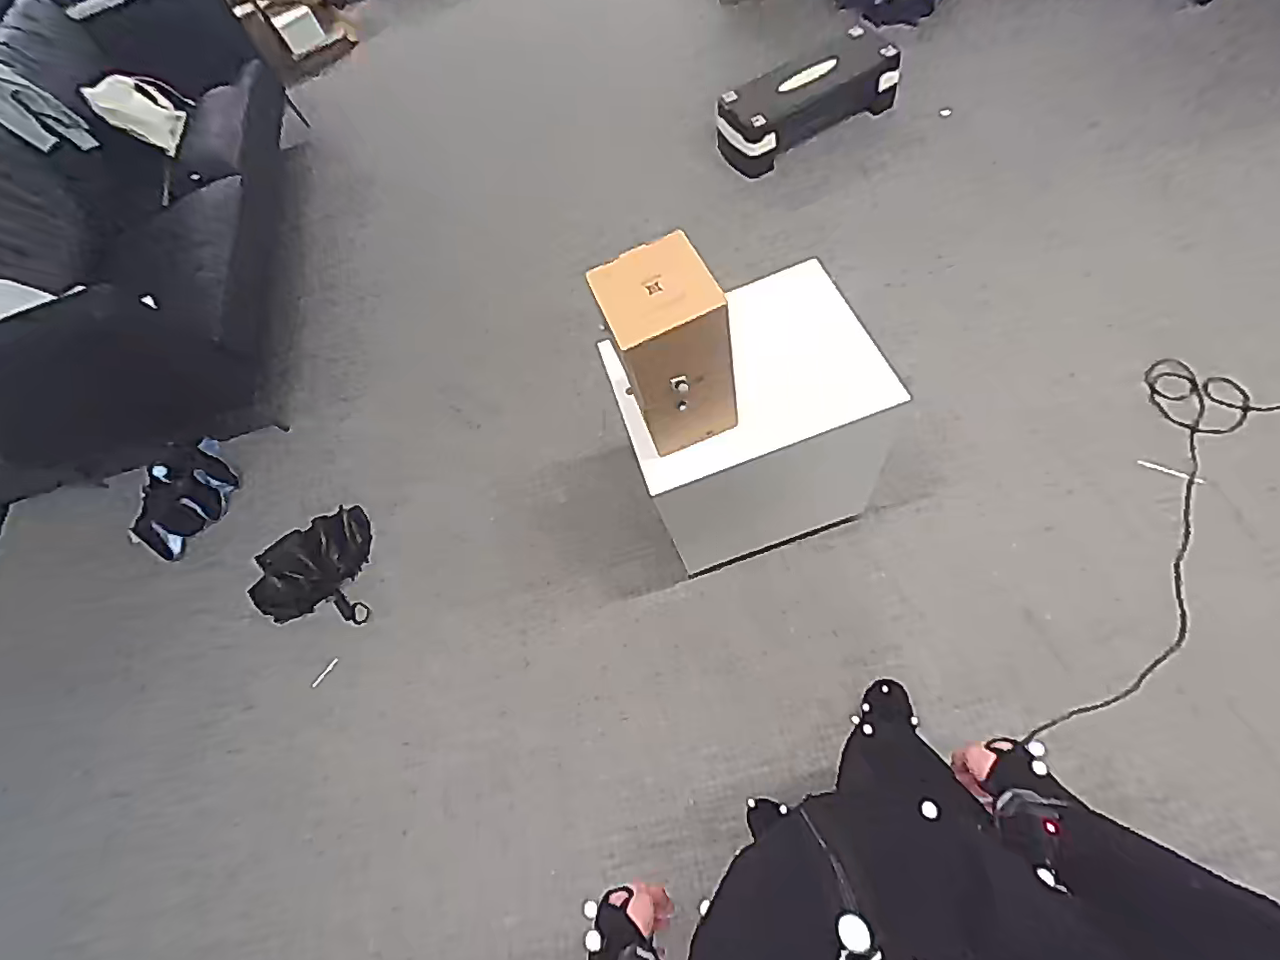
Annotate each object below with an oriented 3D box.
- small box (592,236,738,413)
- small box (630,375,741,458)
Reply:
[{"bbox_3d":[0.044,-0.240,0.861,0.168,0.176,0.179,-25,62,2],"label":"small box"},{"bbox_3d":[0.078,-0.172,1.004,0.168,0.176,0.179,-22,61,2],"label":"small box"}]
